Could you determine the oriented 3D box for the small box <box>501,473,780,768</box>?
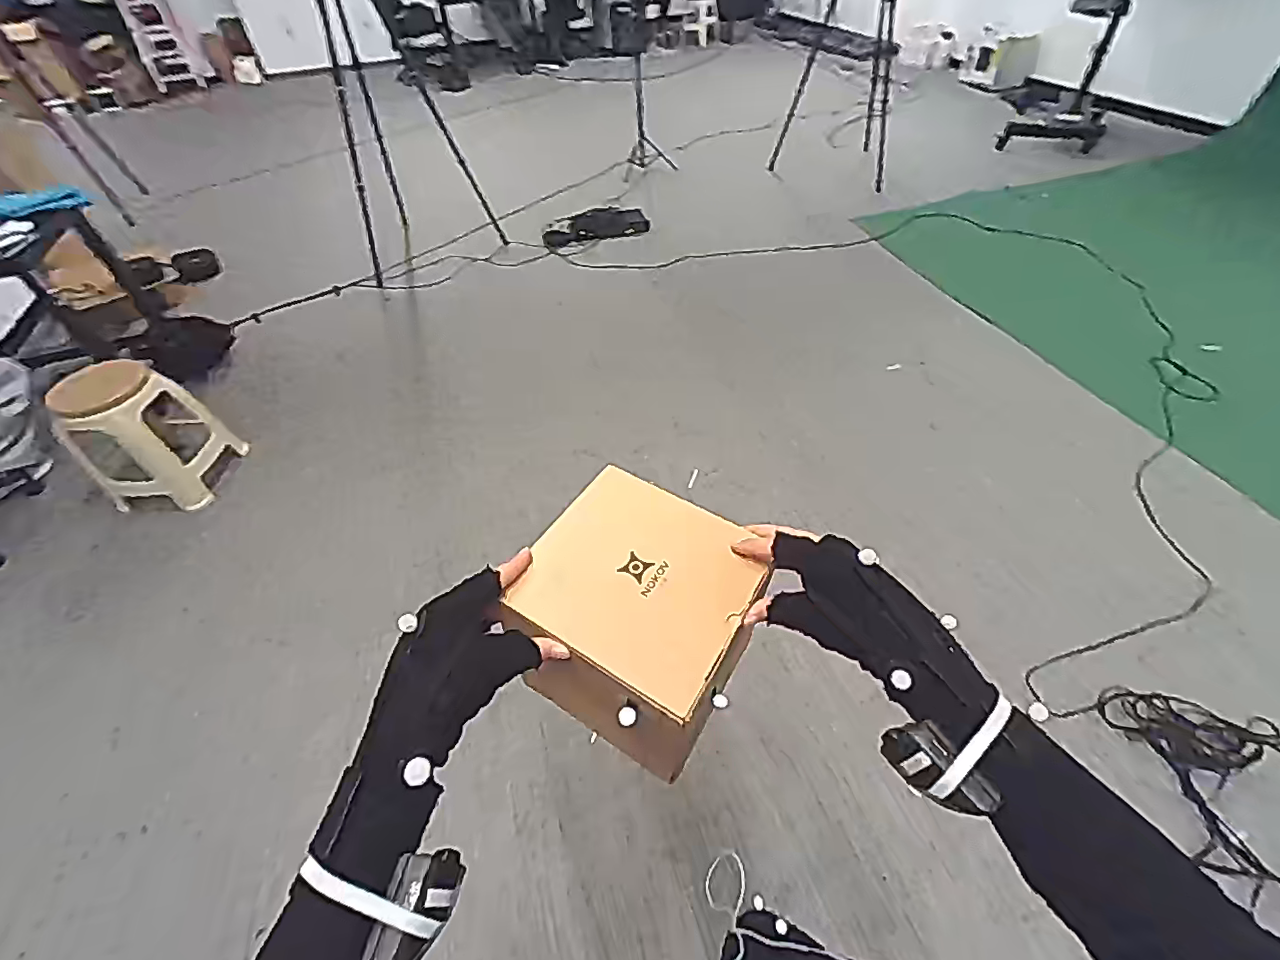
[{"bbox_3d":[0.002,0.131,0.501,0.179,0.176,0.168,26,53,21],"label":"small box"}]
